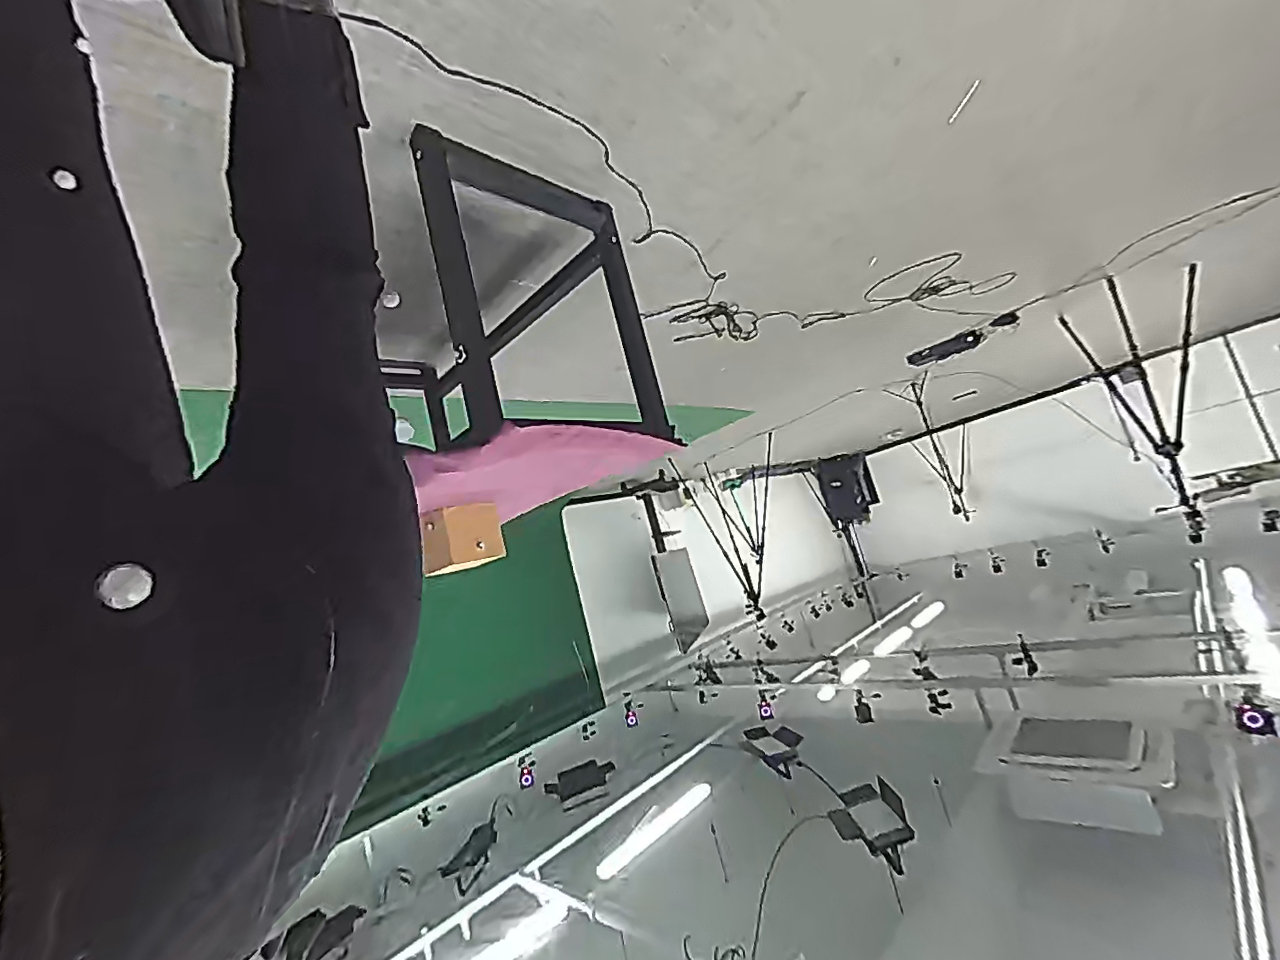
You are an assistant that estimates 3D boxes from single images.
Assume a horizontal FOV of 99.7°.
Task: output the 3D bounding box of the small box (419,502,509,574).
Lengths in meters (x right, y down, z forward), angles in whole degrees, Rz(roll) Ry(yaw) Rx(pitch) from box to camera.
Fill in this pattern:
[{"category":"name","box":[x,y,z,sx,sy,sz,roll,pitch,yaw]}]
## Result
[{"category":"small box","box":[-0.515,0.165,1.578,0.168,0.176,0.179,-22,168,38]}]
